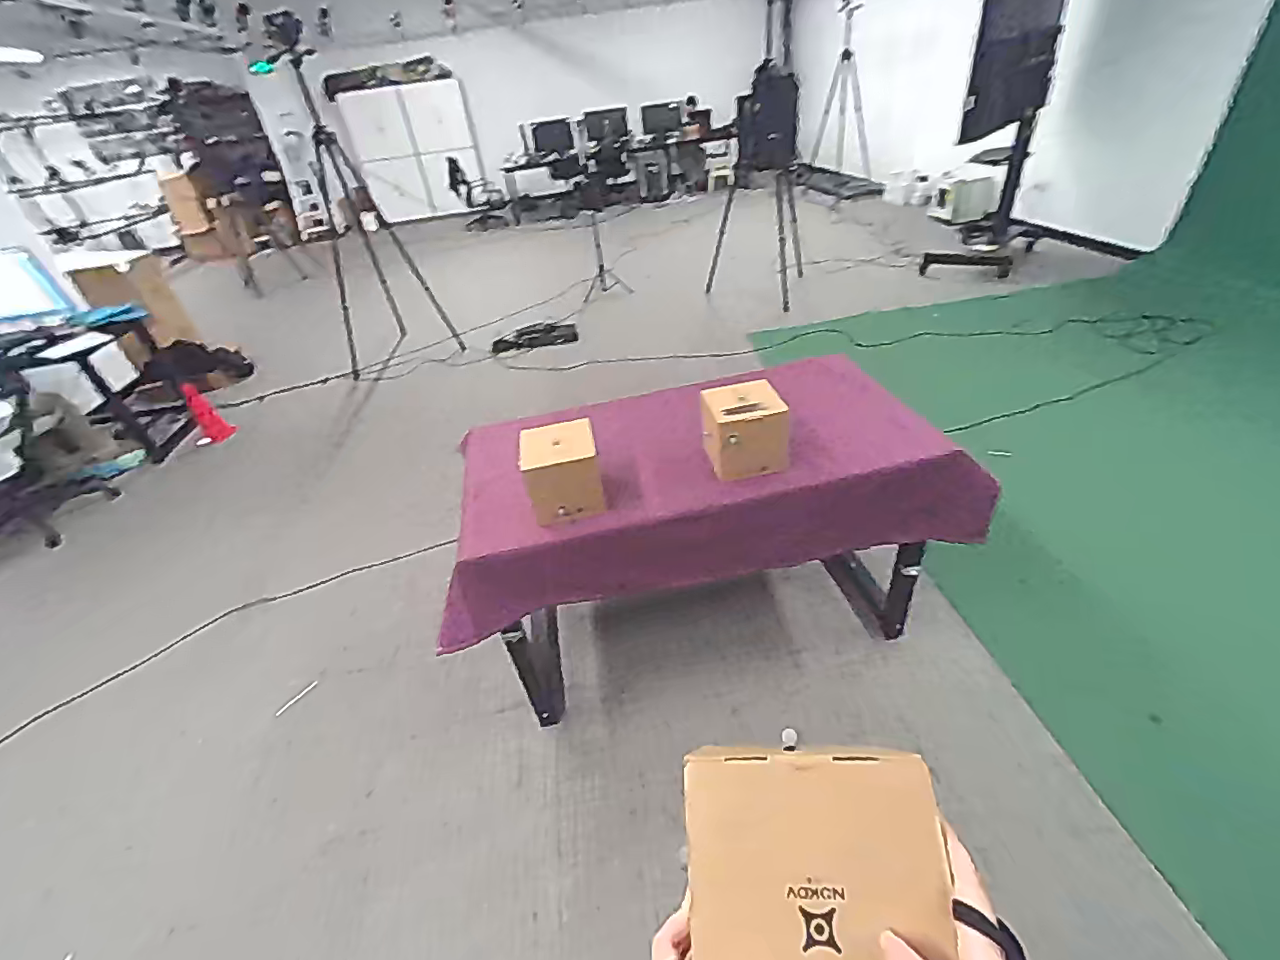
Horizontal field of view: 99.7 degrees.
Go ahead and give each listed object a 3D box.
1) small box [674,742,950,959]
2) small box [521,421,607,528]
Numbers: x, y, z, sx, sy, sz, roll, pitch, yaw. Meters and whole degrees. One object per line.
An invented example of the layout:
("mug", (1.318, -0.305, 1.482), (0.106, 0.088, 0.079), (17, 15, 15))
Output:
("small box", (0.120, 0.302, 0.418), (0.168, 0.176, 0.179), (-6, 65, 10))
("small box", (-0.179, -0.014, 1.278), (0.168, 0.176, 0.179), (-12, 37, -3))
